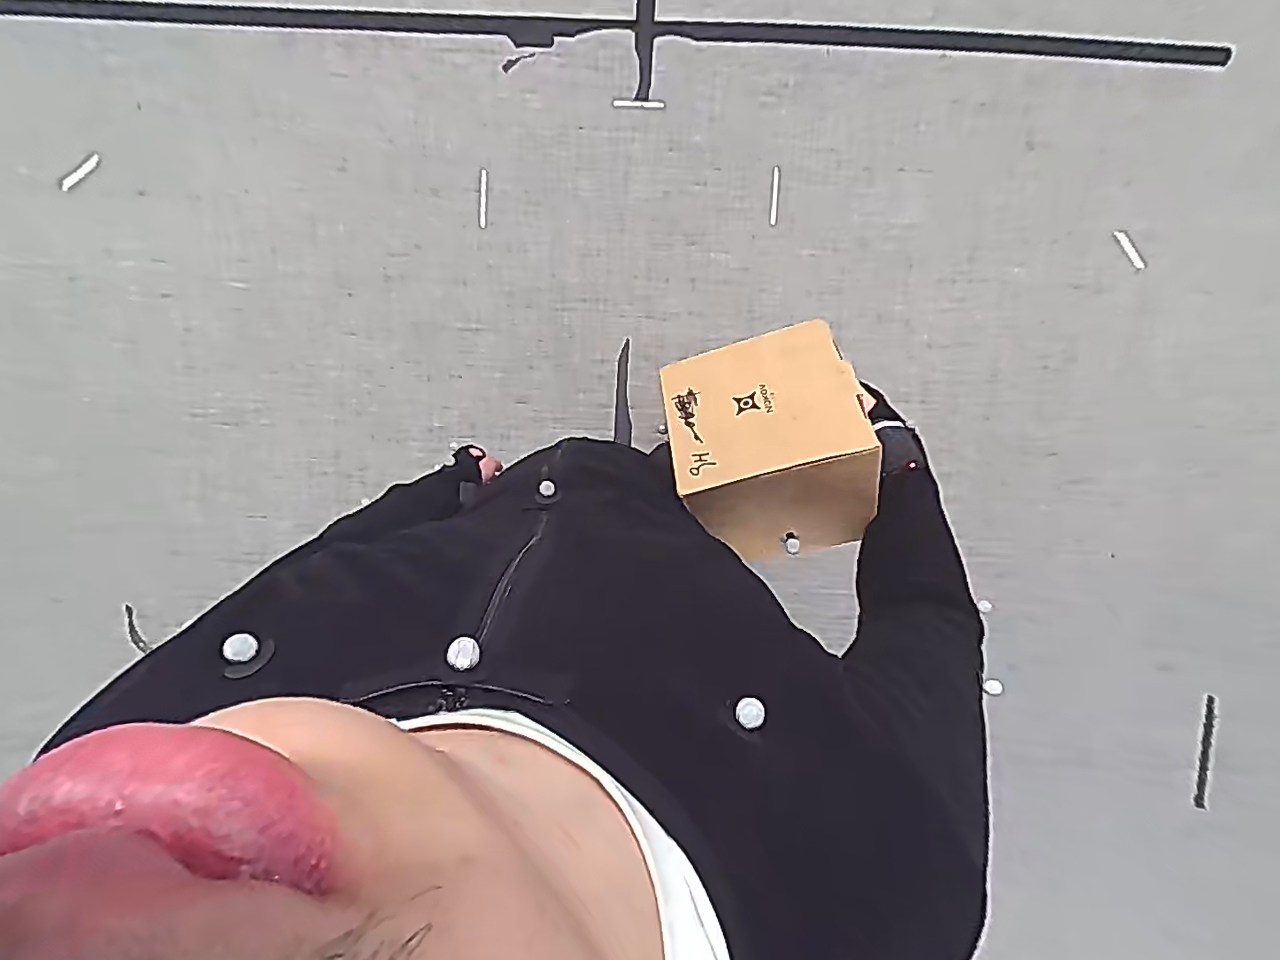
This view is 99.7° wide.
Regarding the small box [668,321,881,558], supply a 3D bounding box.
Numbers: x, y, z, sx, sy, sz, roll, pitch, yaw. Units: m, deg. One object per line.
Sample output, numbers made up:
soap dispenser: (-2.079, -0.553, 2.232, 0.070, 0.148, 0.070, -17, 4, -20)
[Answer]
small box: (0.141, -0.034, 0.585, 0.179, 0.176, 0.168, -14, 53, 12)
